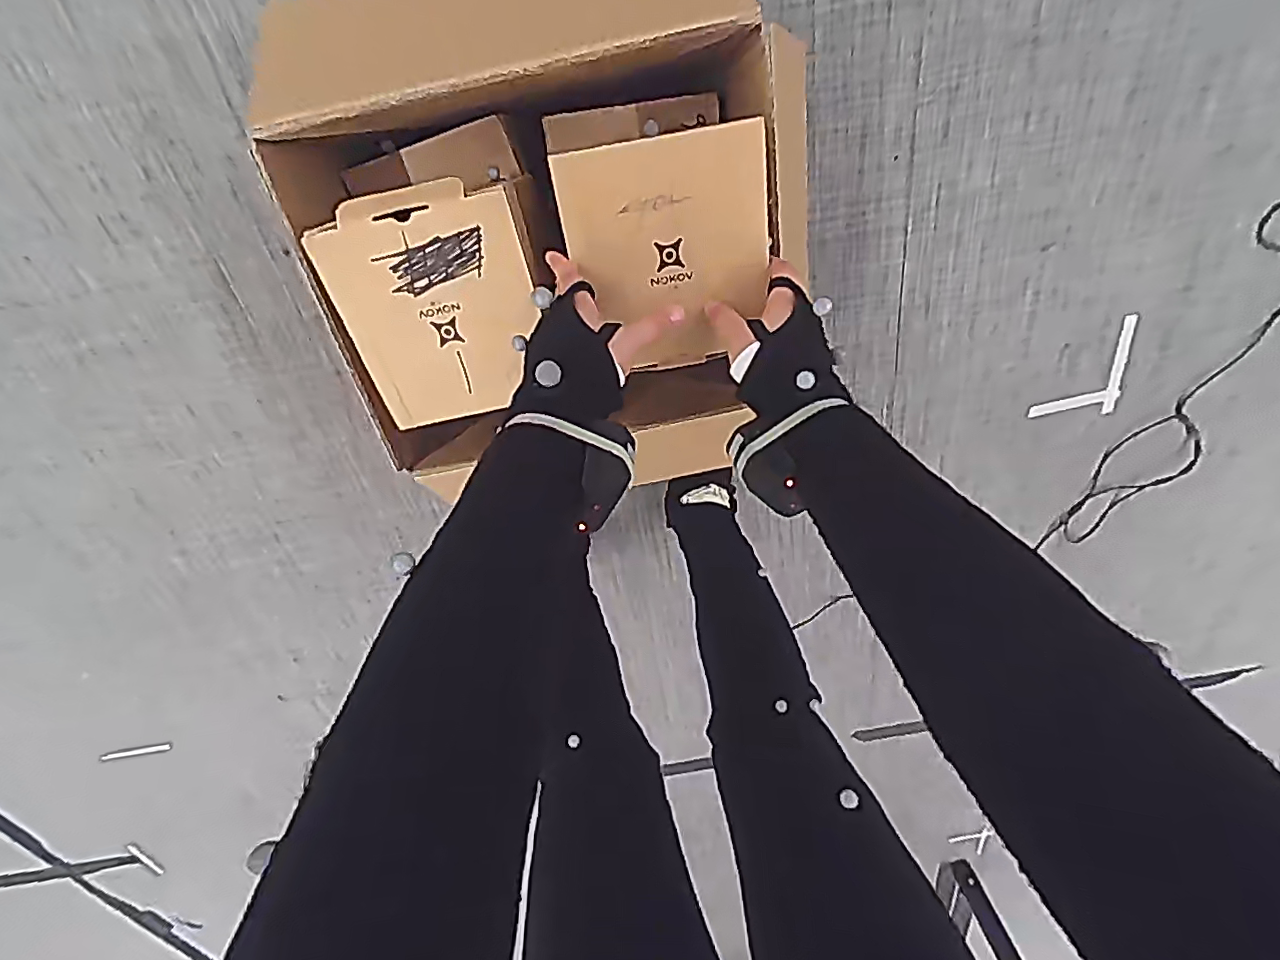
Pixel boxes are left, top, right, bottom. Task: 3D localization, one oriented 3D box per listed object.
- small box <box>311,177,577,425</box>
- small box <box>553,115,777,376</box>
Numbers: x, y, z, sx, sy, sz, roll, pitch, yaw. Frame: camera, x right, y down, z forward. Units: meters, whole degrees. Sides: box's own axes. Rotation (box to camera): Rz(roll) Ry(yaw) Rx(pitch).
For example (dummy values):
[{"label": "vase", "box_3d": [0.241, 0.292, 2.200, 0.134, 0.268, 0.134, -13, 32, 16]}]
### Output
[{"label": "small box", "box_3d": [-0.162, -0.179, 0.518, 0.168, 0.176, 0.179, -11, 123, 4]}, {"label": "small box", "box_3d": [0.021, -0.218, 0.505, 0.168, 0.176, 0.179, -11, 119, -1]}]
